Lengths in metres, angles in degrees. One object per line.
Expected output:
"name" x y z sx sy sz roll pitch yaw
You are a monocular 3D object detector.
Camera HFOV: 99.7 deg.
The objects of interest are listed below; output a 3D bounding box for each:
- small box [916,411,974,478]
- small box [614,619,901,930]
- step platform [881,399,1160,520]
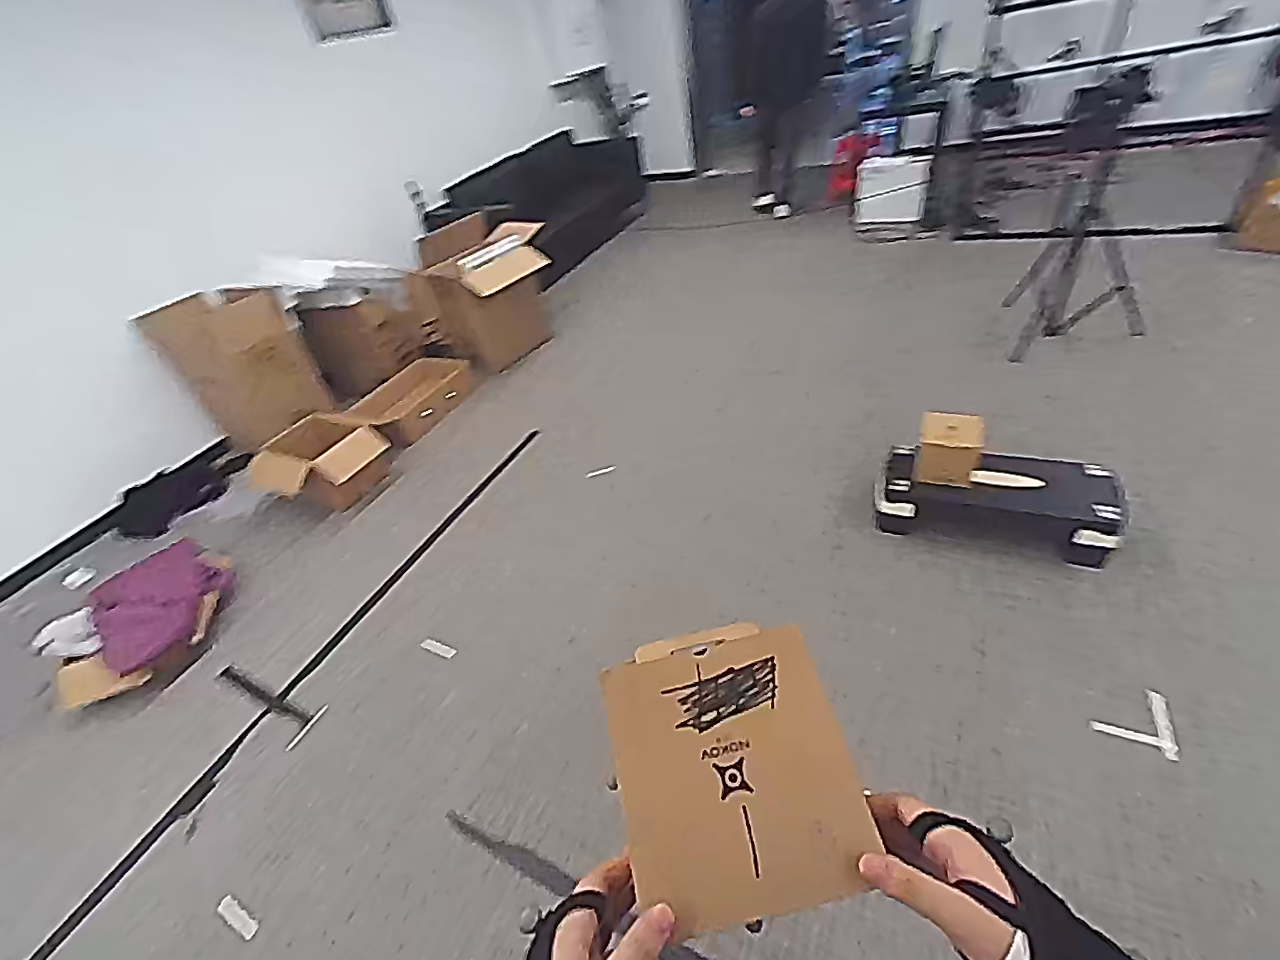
"small box" 1.005 -0.107 1.806 0.168 0.176 0.179 9 44 24
"small box" 0.078 0.242 0.452 0.168 0.176 0.179 -12 56 -2
"step platform" 1.127 -0.078 1.684 0.684 0.204 0.286 9 44 24
